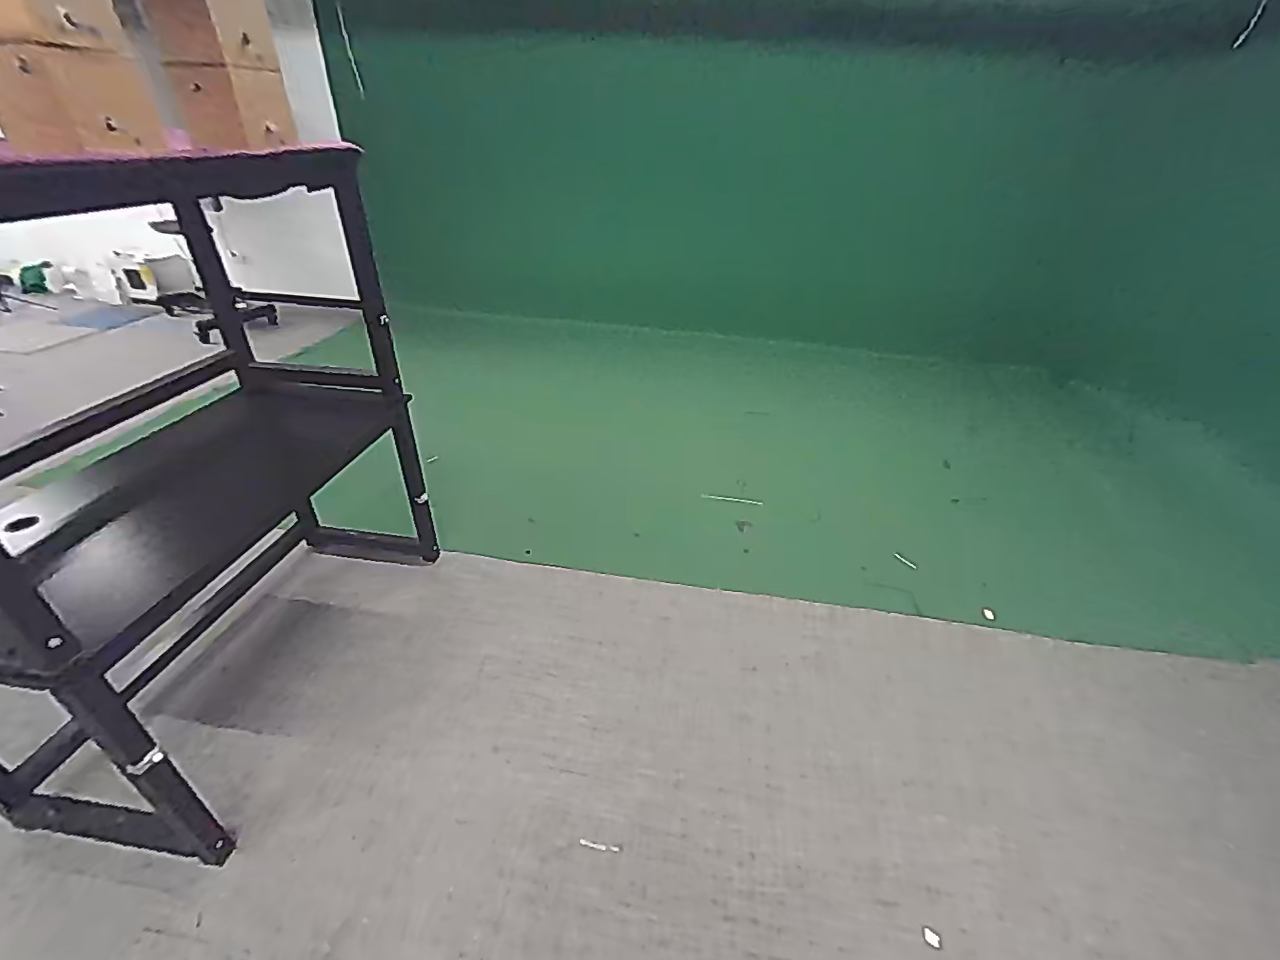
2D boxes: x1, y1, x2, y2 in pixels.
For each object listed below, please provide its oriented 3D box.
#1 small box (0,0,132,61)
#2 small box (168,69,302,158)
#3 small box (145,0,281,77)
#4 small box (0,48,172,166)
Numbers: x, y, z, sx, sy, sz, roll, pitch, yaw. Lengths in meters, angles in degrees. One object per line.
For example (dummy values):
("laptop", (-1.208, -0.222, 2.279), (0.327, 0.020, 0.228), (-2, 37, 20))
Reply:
("small box", (-1.035, -0.815, 0.909), (0.179, 0.176, 0.168), (6, 34, 5))
("small box", (-0.977, -0.890, 1.321), (0.179, 0.176, 0.168), (9, 34, 10))
("small box", (-0.973, -1.028, 1.231), (0.179, 0.176, 0.168), (9, 35, 10))
("small box", (-1.042, -0.682, 1.002), (0.179, 0.176, 0.168), (8, 33, 10))
